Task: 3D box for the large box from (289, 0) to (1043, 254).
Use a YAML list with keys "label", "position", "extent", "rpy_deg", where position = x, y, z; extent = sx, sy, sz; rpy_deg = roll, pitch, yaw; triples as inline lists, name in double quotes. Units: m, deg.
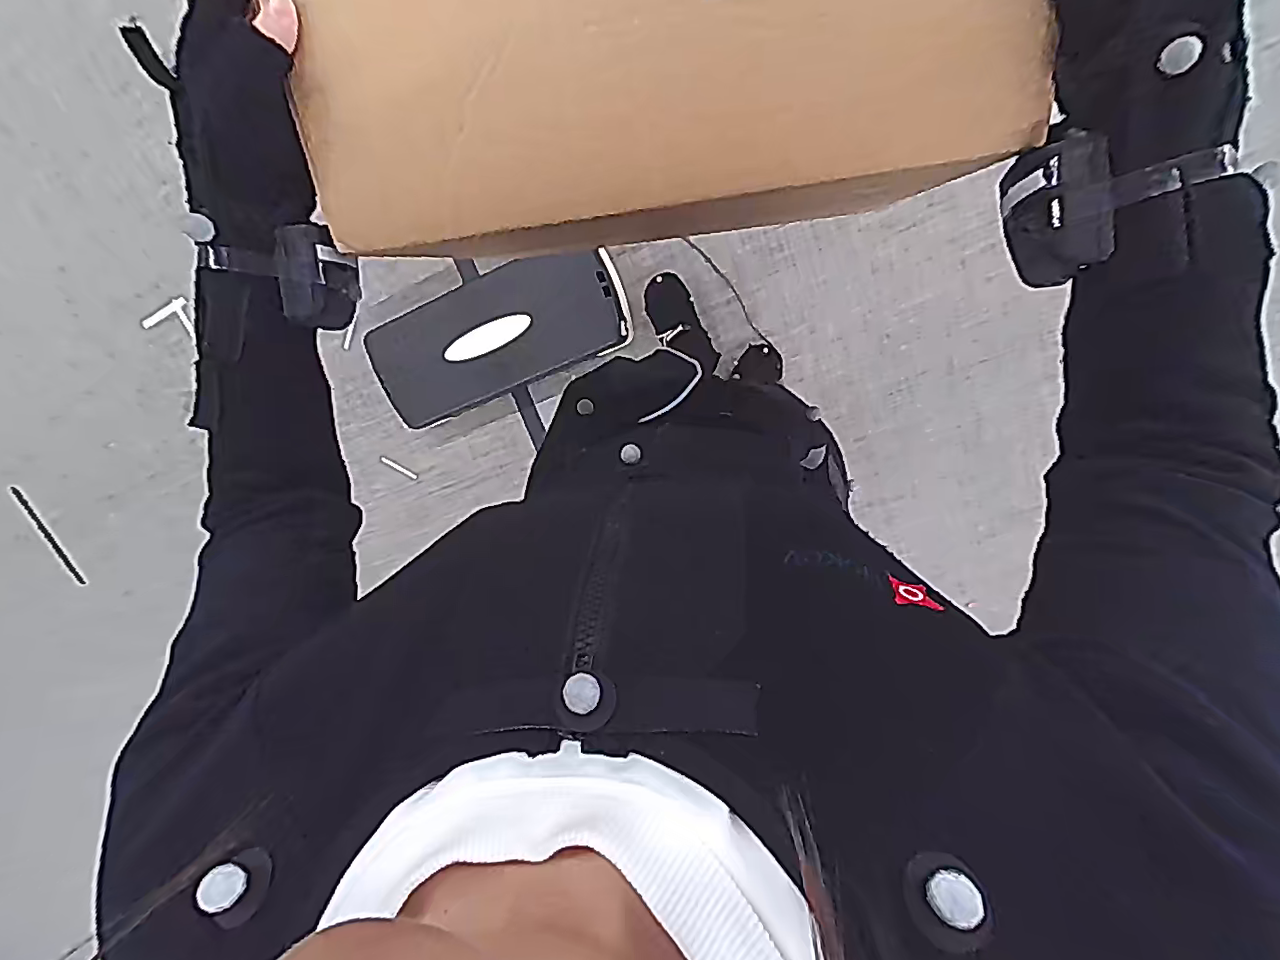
- label: "large box"
  position: [0.010, -0.366, 0.404]
  extent: [0.408, 0.320, 0.320]
  rpy_deg: [-4, 112, 10]
